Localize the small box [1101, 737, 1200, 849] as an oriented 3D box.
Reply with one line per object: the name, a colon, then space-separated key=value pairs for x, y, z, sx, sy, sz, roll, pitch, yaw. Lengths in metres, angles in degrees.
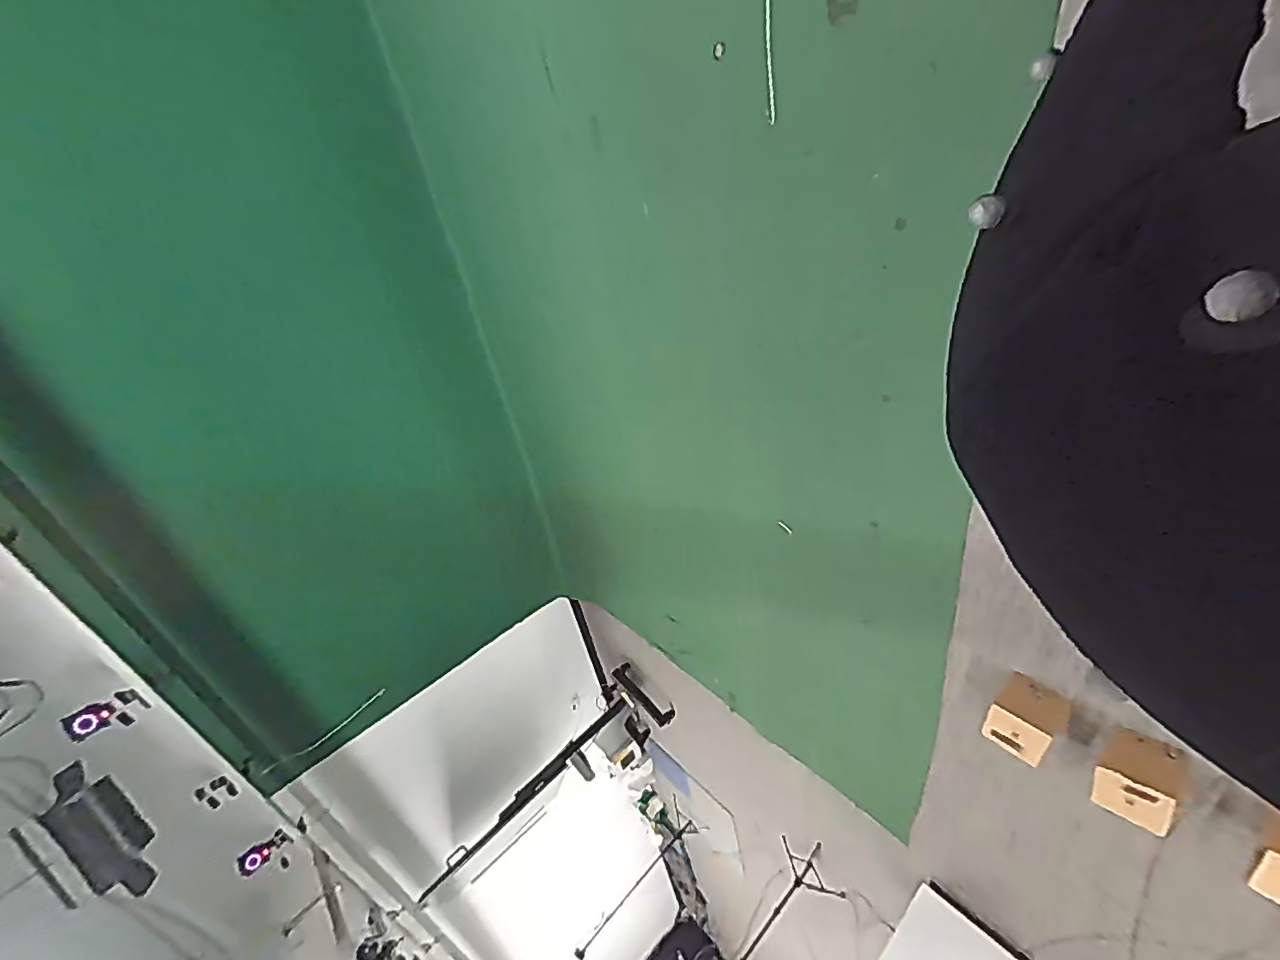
small box: x=1.427 y=0.864 z=1.512 sx=0.168 sy=0.176 sz=0.179 roll=16 pitch=131 yaw=51

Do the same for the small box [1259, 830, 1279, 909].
small box: x=1.627 y=0.945 z=1.279 sx=0.168 sy=0.176 sz=0.179 roll=20 pitch=132 yaw=48
